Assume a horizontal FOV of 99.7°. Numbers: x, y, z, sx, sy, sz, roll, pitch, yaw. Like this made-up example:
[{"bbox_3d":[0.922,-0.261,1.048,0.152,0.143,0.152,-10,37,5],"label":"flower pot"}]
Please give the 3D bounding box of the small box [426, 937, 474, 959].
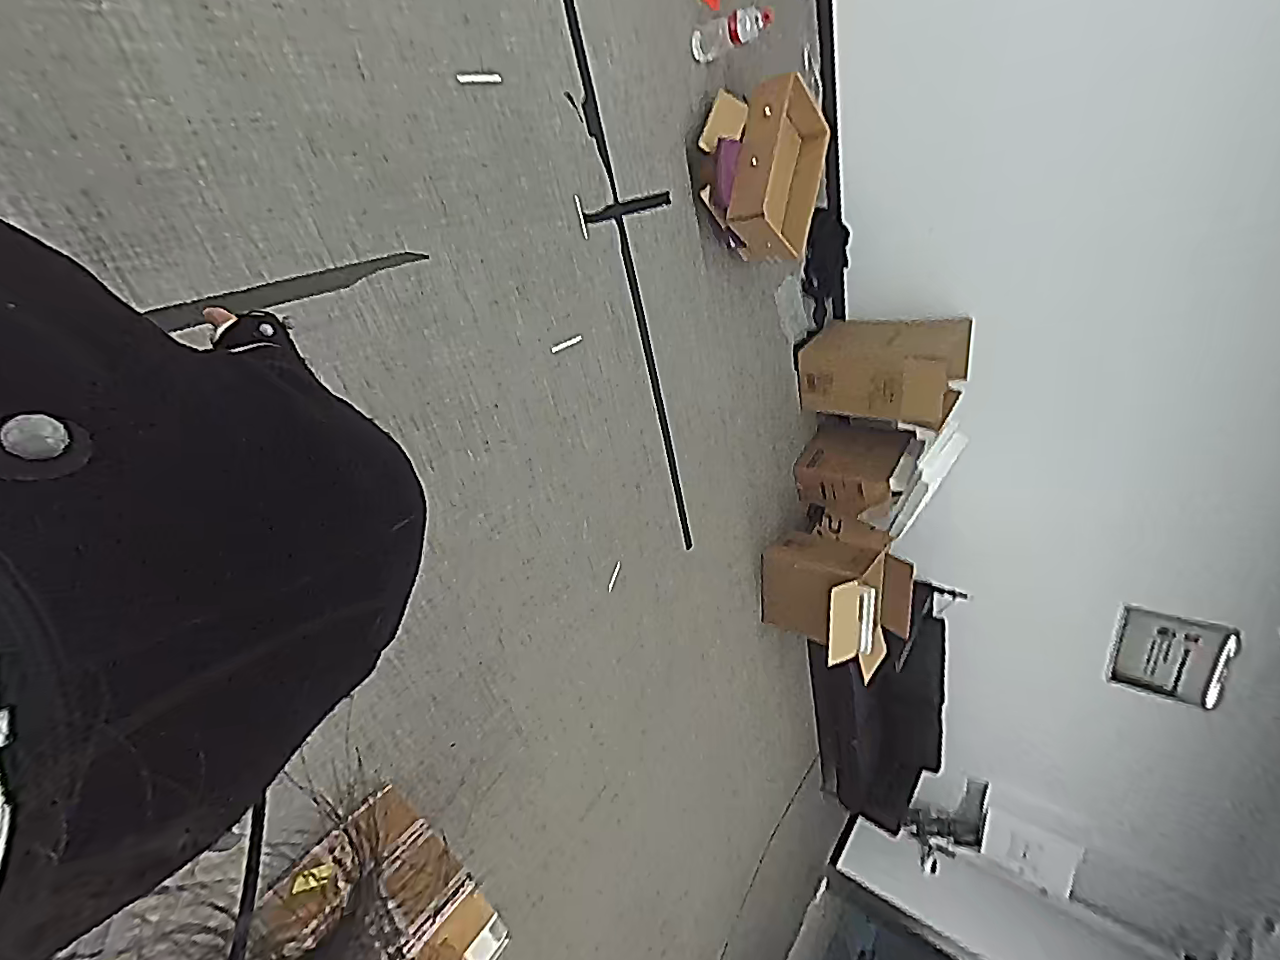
[{"bbox_3d":[-0.443,1.249,1.281,0.168,0.176,0.179,-36,121,-39],"label":"small box"}]
